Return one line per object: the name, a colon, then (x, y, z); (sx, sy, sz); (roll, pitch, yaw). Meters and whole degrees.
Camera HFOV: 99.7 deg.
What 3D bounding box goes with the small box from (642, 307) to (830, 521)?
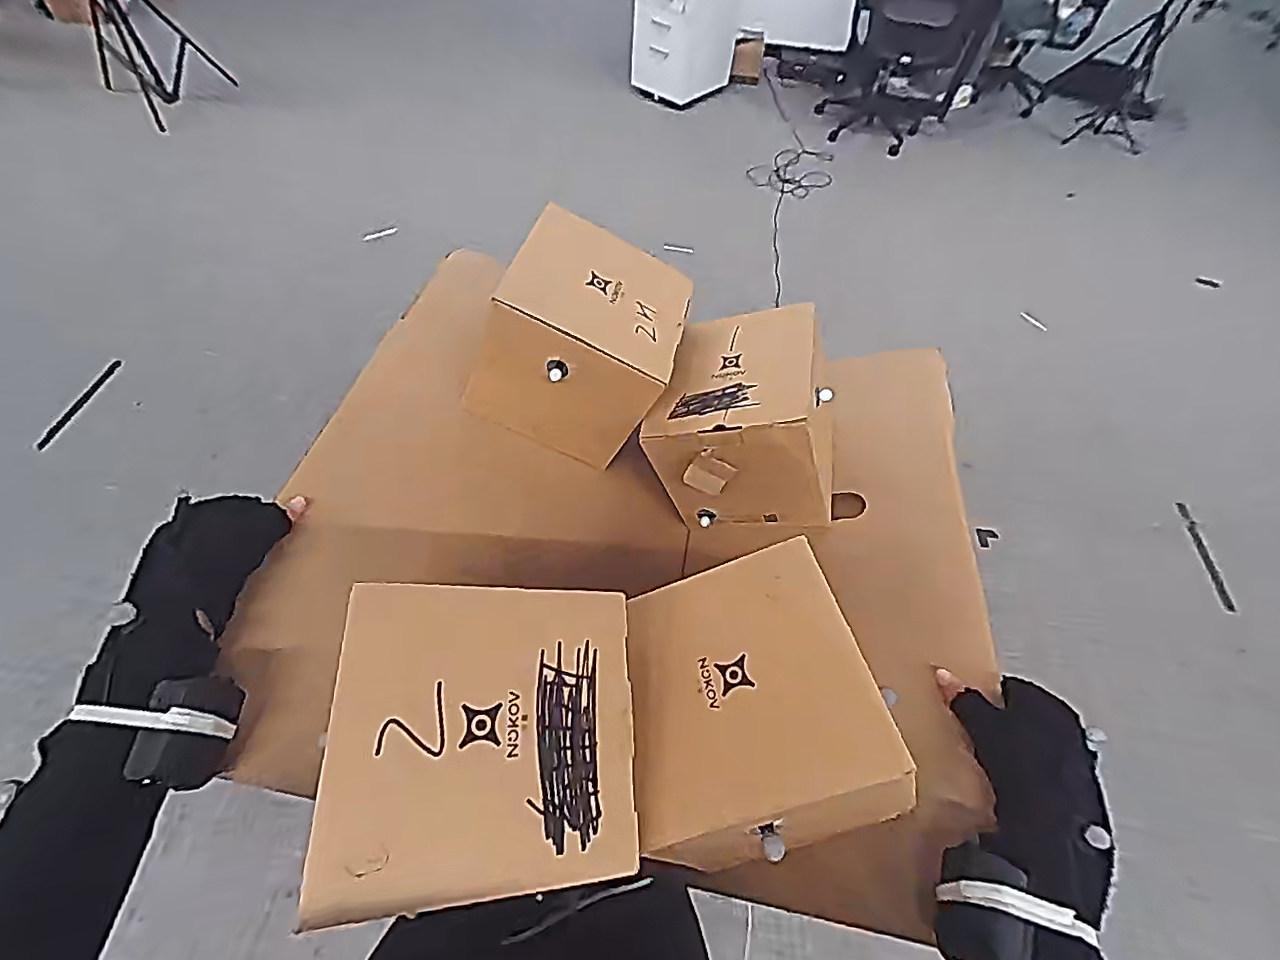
small box: (0.122, -0.064, 0.621); (0.168, 0.176, 0.179); (-3, 50, 25)
